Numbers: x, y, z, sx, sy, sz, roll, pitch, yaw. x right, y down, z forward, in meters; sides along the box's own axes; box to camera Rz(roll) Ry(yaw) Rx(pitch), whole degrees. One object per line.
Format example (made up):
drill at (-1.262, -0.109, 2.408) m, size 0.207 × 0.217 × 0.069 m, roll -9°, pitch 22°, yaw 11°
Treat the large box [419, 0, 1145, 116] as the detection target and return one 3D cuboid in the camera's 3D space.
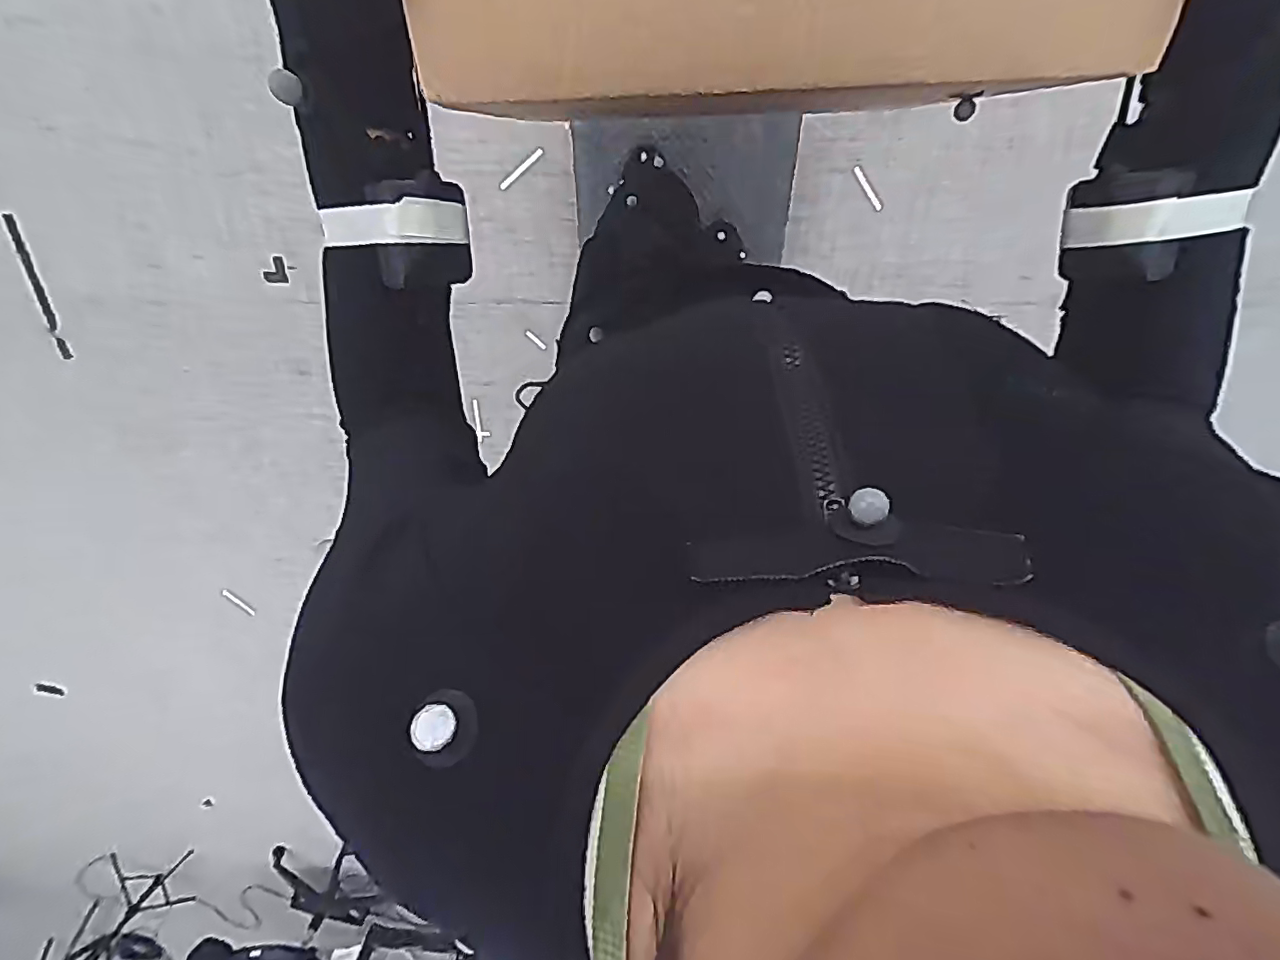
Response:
large box at (0.074, -0.438, 0.357) m, size 0.408 × 0.320 × 0.320 m, roll -2°, pitch 122°, yaw 1°
